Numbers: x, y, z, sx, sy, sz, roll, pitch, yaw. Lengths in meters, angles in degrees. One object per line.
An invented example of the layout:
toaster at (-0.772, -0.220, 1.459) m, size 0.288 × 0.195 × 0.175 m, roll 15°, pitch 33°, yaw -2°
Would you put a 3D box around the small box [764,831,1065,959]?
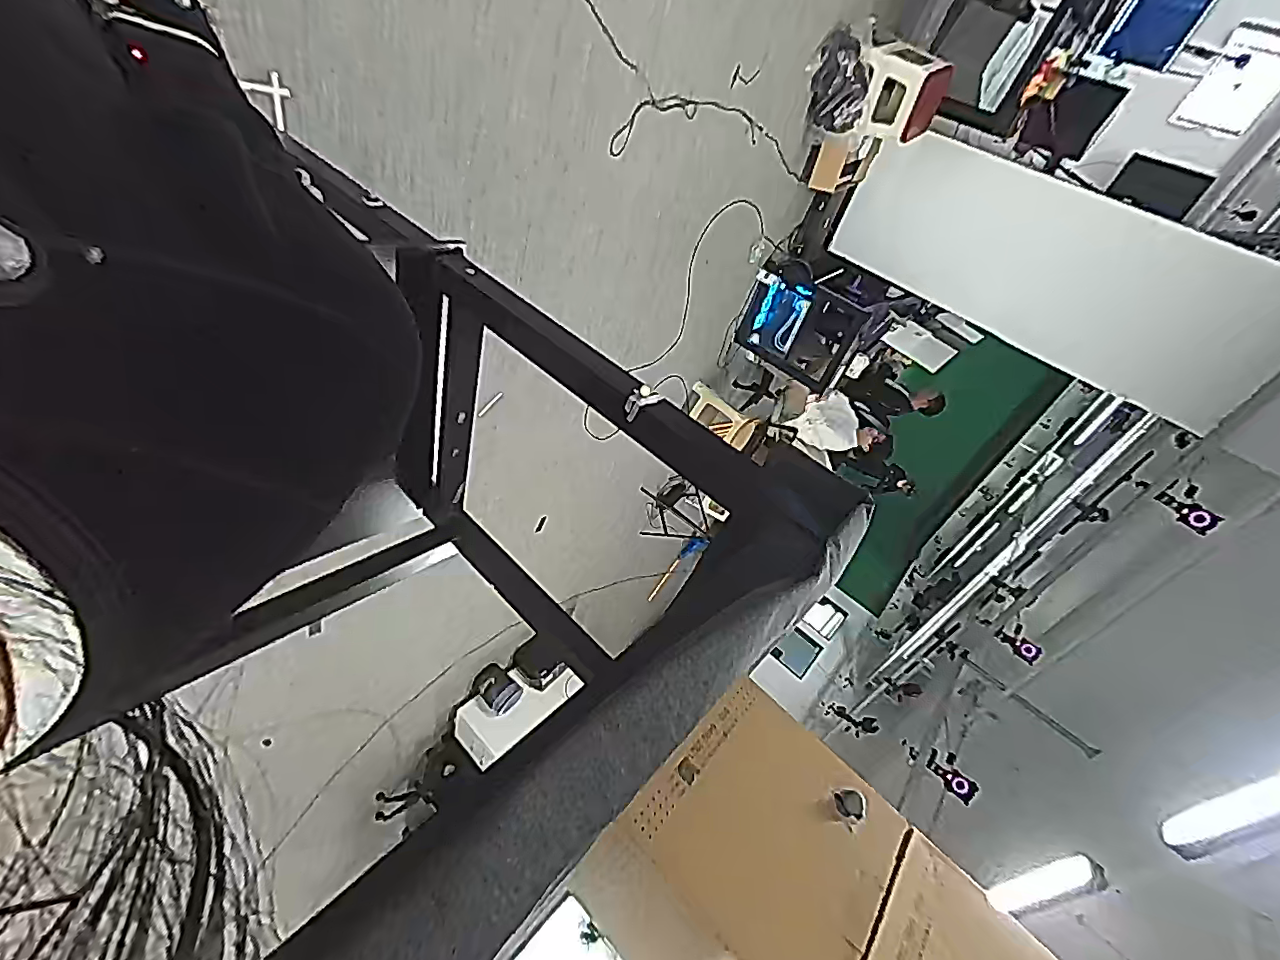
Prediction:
small box at (0.188, 0.392, 0.377) m, size 0.168 × 0.176 × 0.179 m, roll -28°, pitch 151°, yaw -45°
